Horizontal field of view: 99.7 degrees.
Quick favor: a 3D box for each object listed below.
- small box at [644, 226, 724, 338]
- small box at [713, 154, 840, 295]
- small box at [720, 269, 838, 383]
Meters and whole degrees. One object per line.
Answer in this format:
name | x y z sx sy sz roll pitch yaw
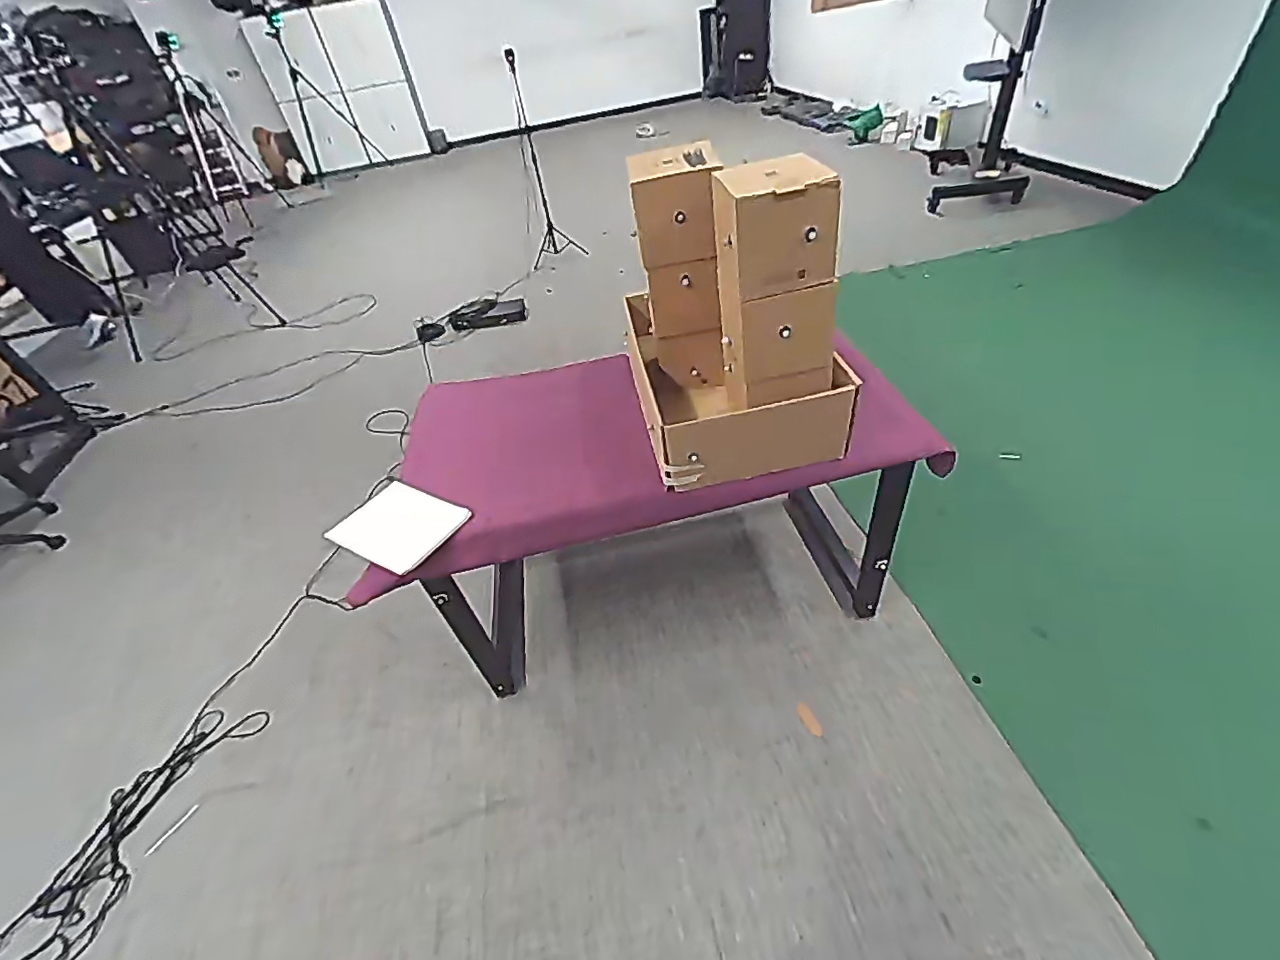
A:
small box | 0.109 -0.444 1.219 0.179 0.176 0.168 -9 45 4
small box | 0.230 -0.433 0.931 0.168 0.176 0.179 -11 41 2
small box | 0.259 -0.311 1.035 0.179 0.176 0.168 -13 42 2
